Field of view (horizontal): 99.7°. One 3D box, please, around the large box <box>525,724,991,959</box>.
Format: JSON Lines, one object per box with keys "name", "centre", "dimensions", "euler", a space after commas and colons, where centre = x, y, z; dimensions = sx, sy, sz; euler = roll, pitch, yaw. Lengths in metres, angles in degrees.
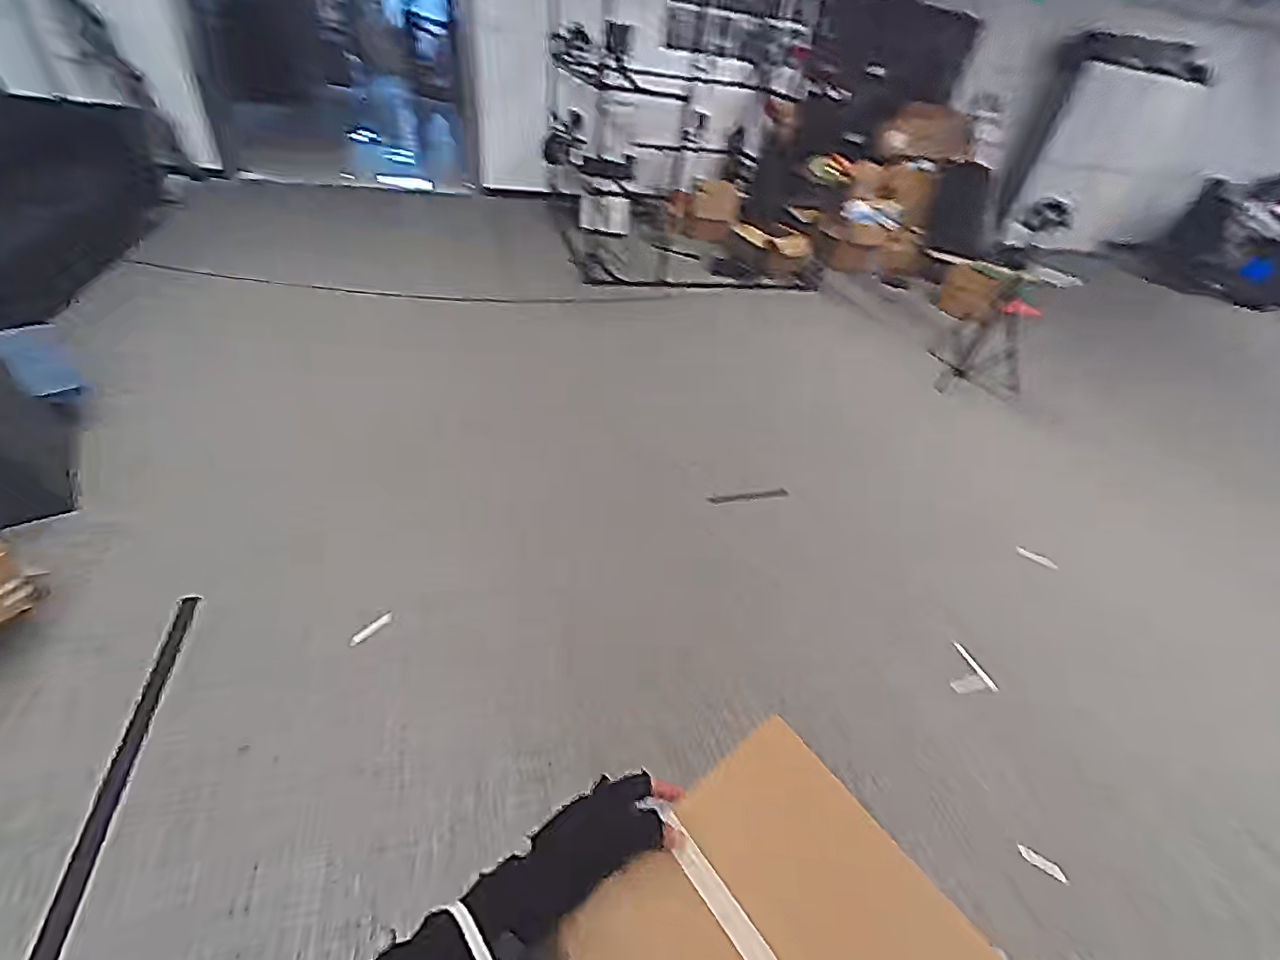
{"name": "large box", "centre": [0.134, 0.539, 0.518], "dimensions": [0.320, 0.320, 0.408], "euler": [-29, 55, -26]}
